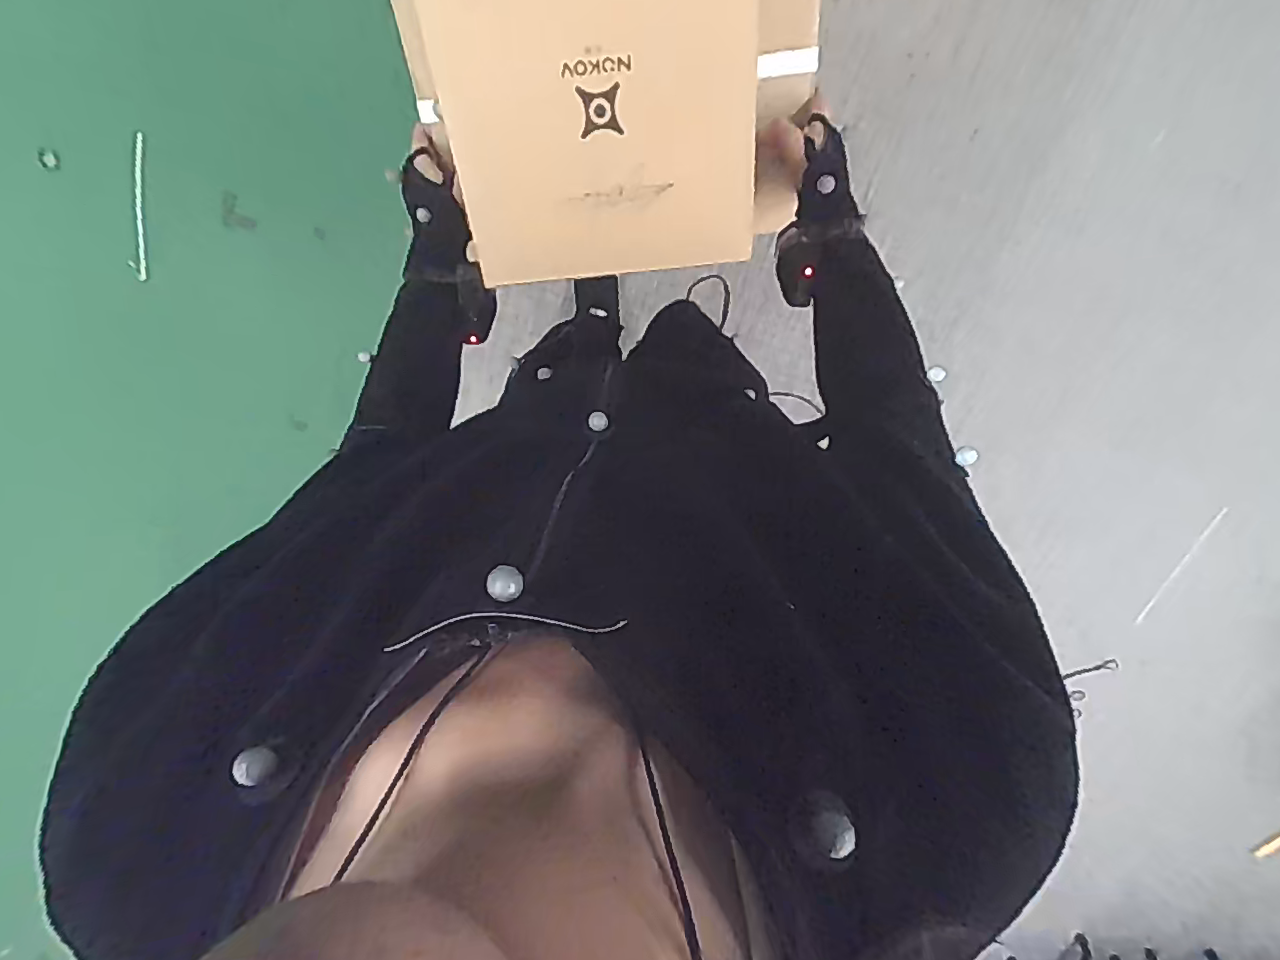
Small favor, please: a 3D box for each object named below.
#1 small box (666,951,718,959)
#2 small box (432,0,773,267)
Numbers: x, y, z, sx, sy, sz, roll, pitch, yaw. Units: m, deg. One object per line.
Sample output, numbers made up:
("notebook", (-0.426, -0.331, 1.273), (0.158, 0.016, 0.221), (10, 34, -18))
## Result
("small box", (0.122, 1.244, 1.249), (0.168, 0.176, 0.179), (17, 111, -10))
("small box", (-0.018, -0.250, 0.340), (0.168, 0.176, 0.179), (-5, 125, 2))
